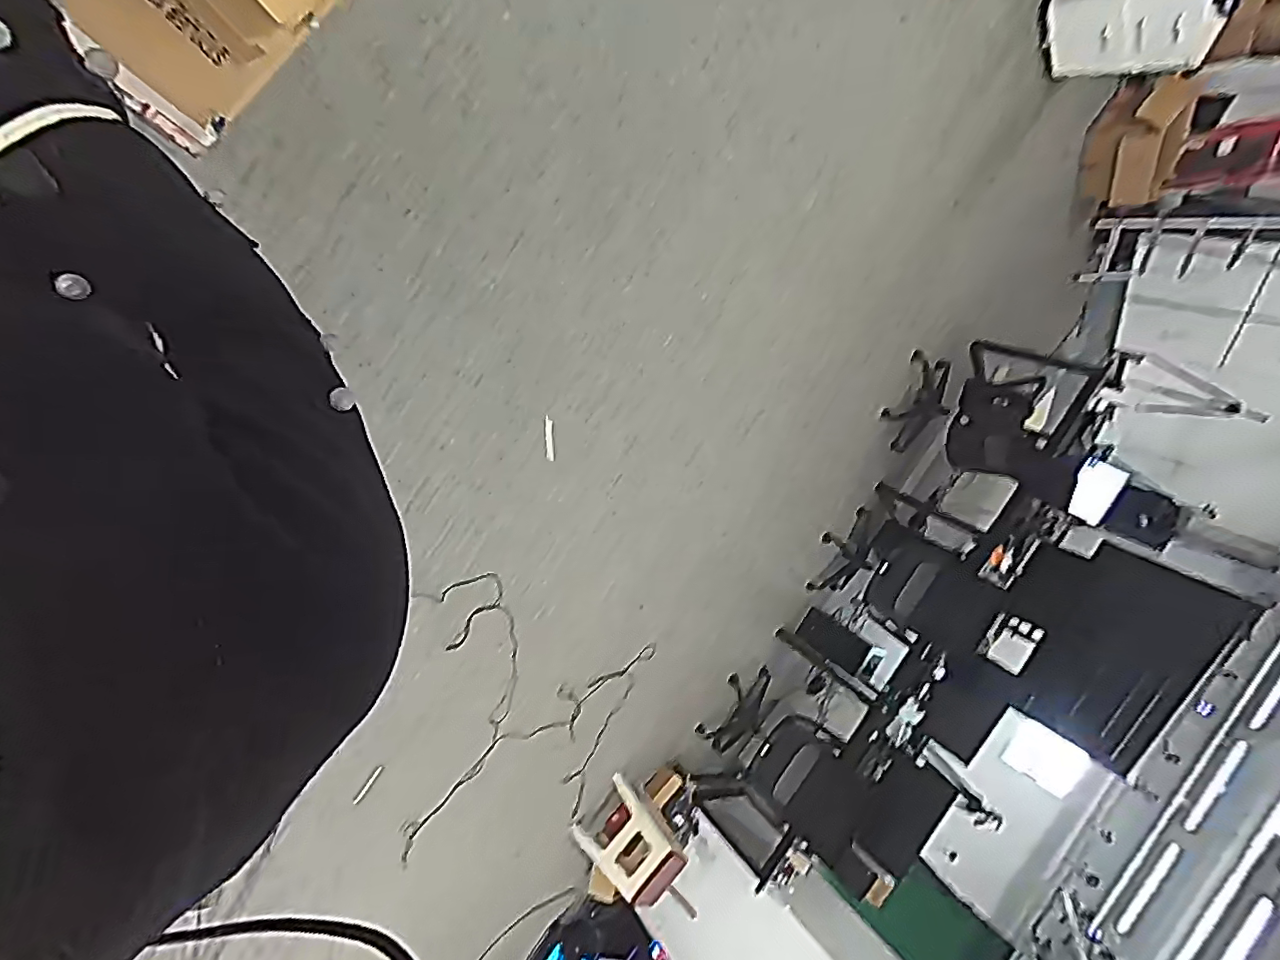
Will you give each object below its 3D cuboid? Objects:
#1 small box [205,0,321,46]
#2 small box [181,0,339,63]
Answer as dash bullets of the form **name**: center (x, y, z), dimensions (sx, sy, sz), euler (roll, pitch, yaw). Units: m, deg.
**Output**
- **small box**: center (-0.290, -0.459, 0.391), dimensions (0.179, 0.176, 0.168), euler (-52, 140, -4)
- **small box**: center (-0.382, -0.531, 0.504), dimensions (0.168, 0.176, 0.179), euler (-49, 140, -6)
